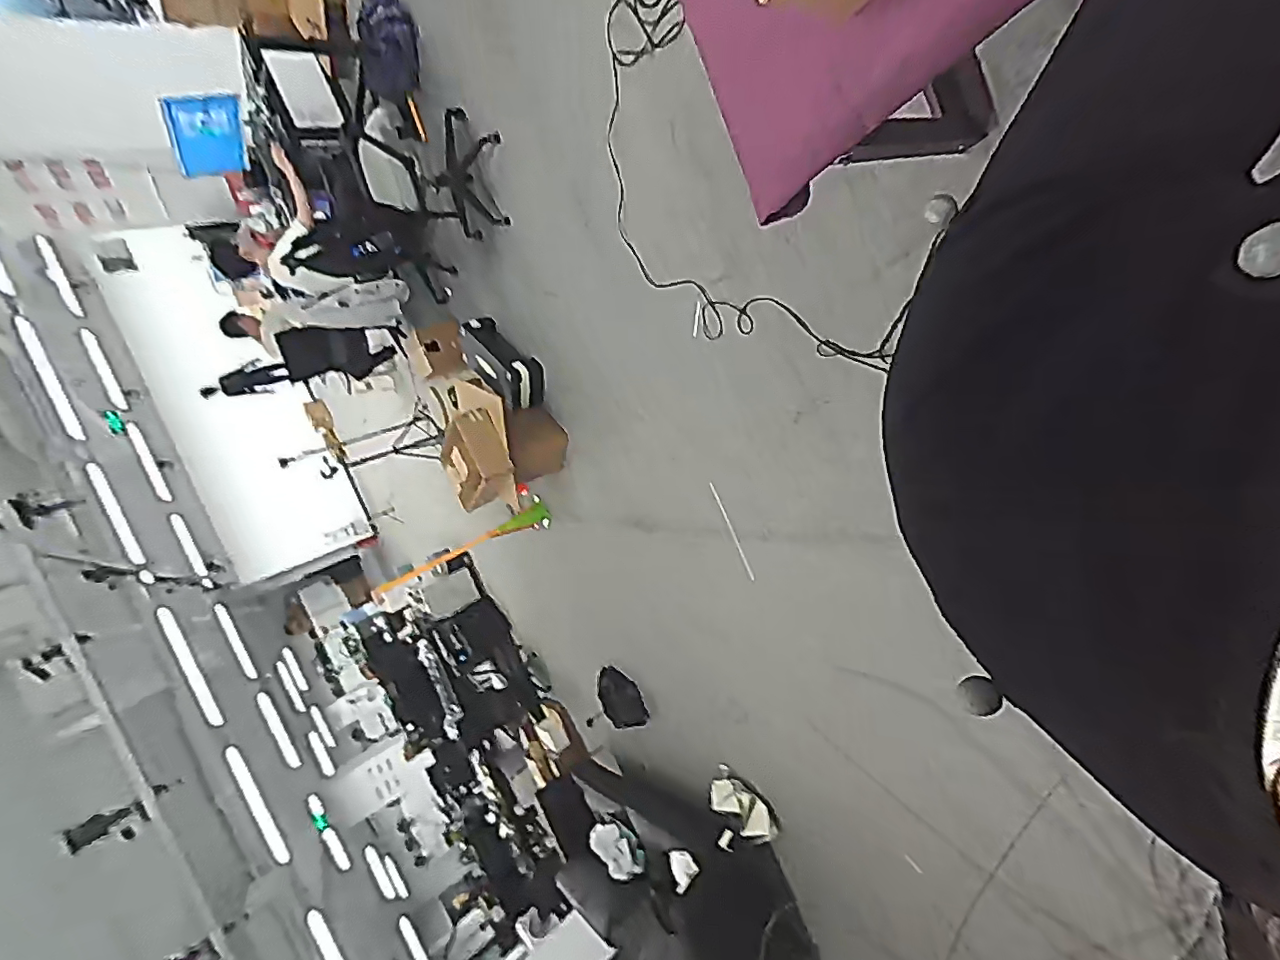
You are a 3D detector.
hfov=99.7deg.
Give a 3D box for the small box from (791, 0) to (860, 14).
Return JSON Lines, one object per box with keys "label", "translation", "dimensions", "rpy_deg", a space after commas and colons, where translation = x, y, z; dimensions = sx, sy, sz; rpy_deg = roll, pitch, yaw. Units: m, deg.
{"label": "small box", "translation": [0.202, -0.637, 0.560], "dimensions": [0.168, 0.176, 0.179], "rpy_deg": [-11, 102, 56]}
